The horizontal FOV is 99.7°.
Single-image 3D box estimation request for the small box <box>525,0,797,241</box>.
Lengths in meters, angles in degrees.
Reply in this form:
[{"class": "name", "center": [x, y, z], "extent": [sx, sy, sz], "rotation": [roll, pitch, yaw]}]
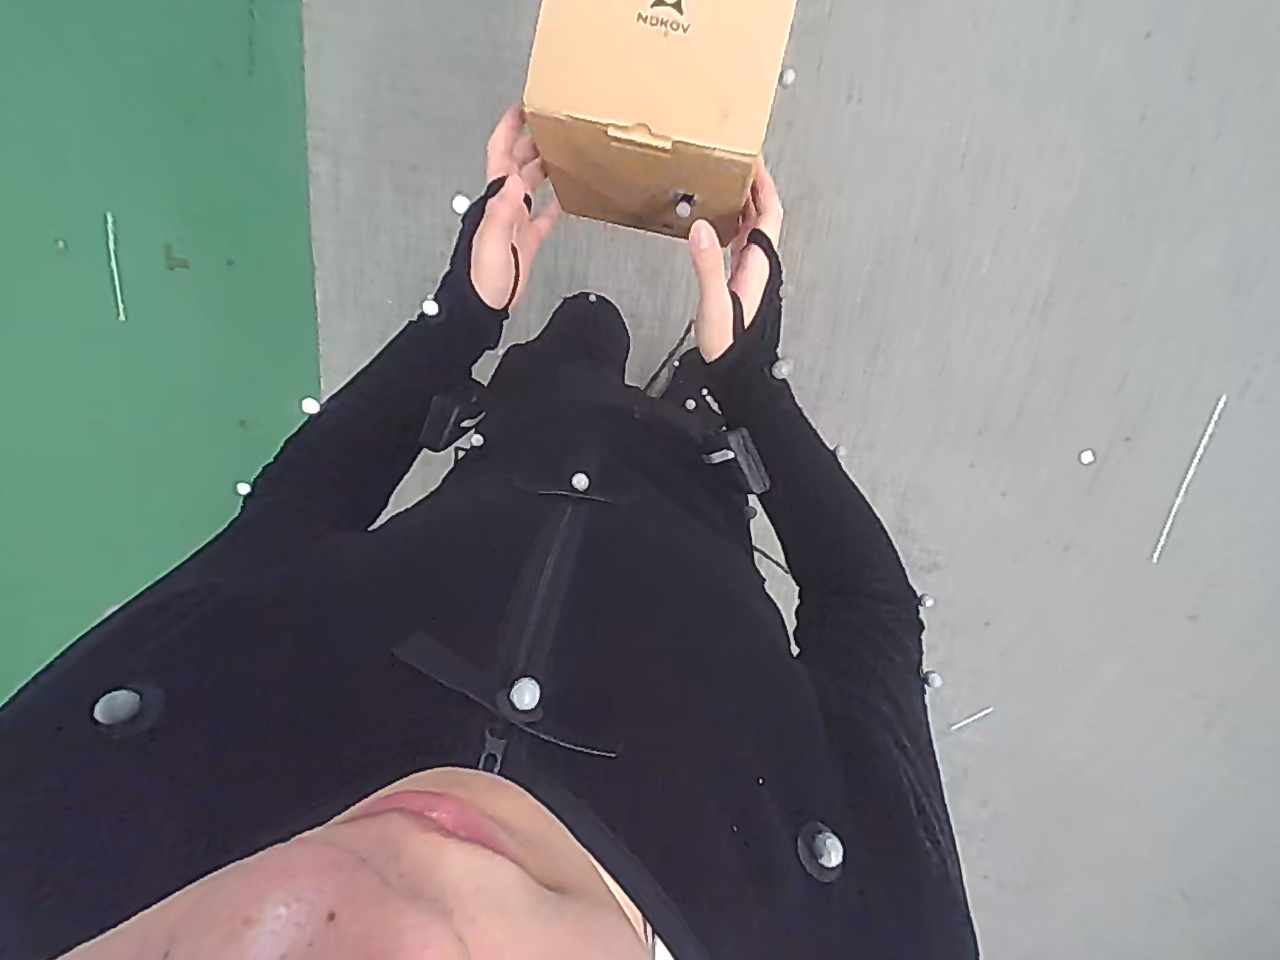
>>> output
[{"class": "small box", "center": [0.023, -0.320, 0.436], "extent": [0.168, 0.176, 0.179], "rotation": [14, 94, 1]}]
